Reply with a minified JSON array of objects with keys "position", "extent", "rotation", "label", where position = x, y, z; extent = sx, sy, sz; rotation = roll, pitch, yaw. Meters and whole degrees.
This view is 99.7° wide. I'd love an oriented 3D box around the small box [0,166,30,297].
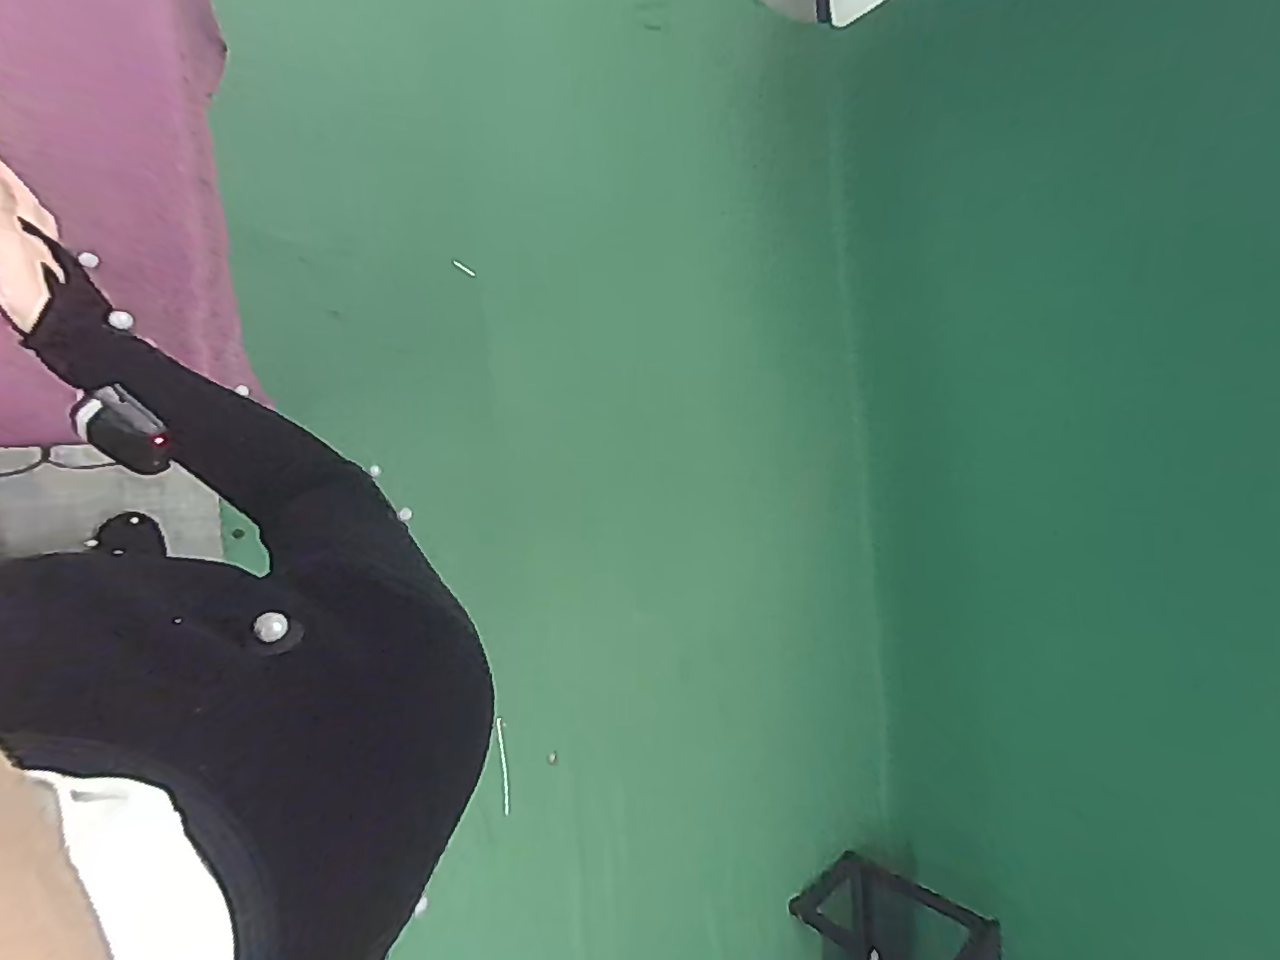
[{"position":[-0.643,-0.266,0.428],"extent":[0.168,0.176,0.179],"rotation":[-16,89,-38],"label":"small box"}]
